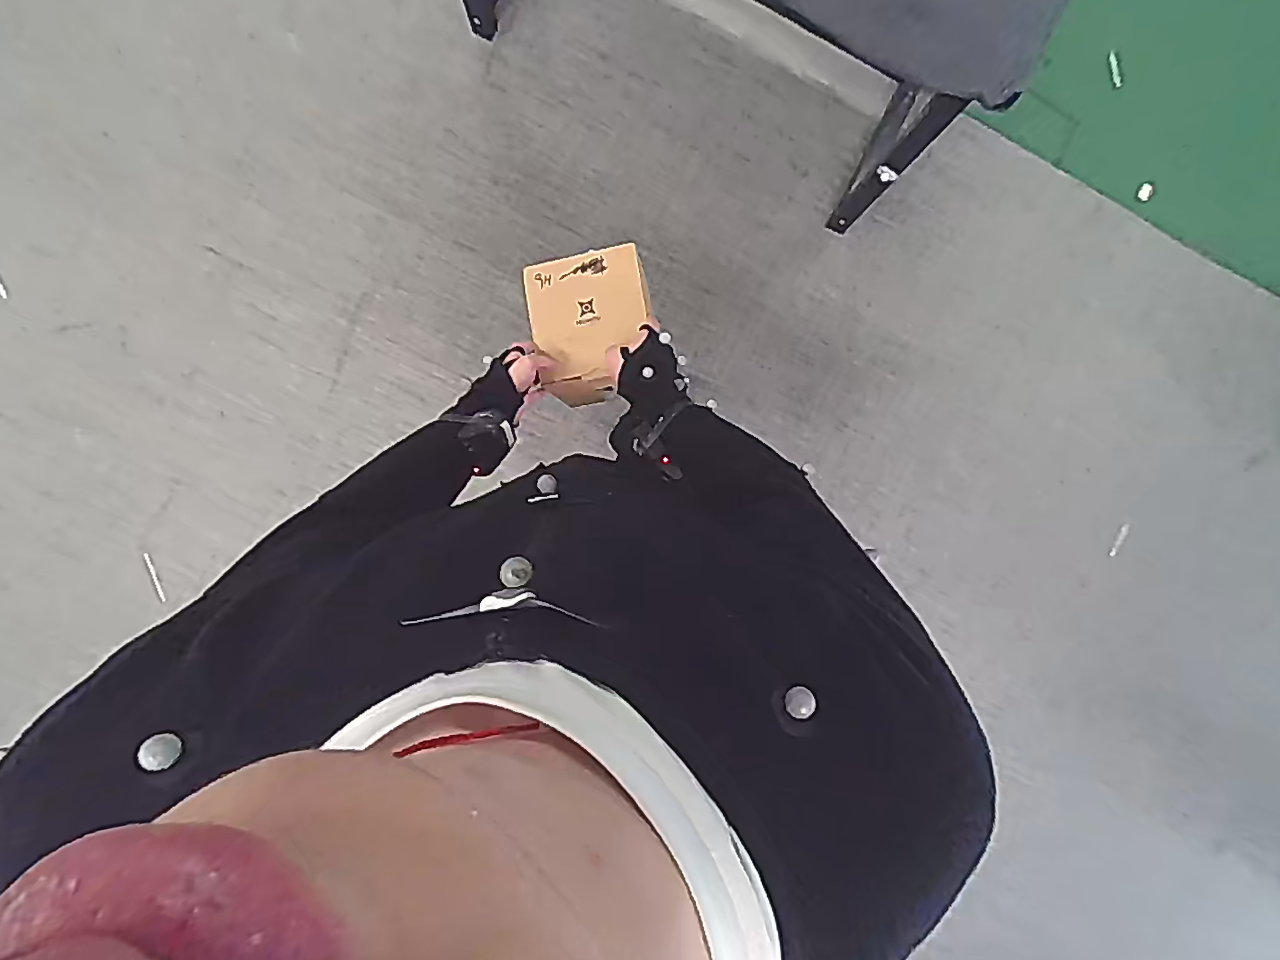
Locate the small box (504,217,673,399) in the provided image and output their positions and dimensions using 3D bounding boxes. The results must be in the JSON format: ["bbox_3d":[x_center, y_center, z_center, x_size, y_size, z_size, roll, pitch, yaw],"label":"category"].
[{"bbox_3d":[-0.068,-0.248,0.829,0.179,0.176,0.168,-40,81,5],"label":"small box"}]
